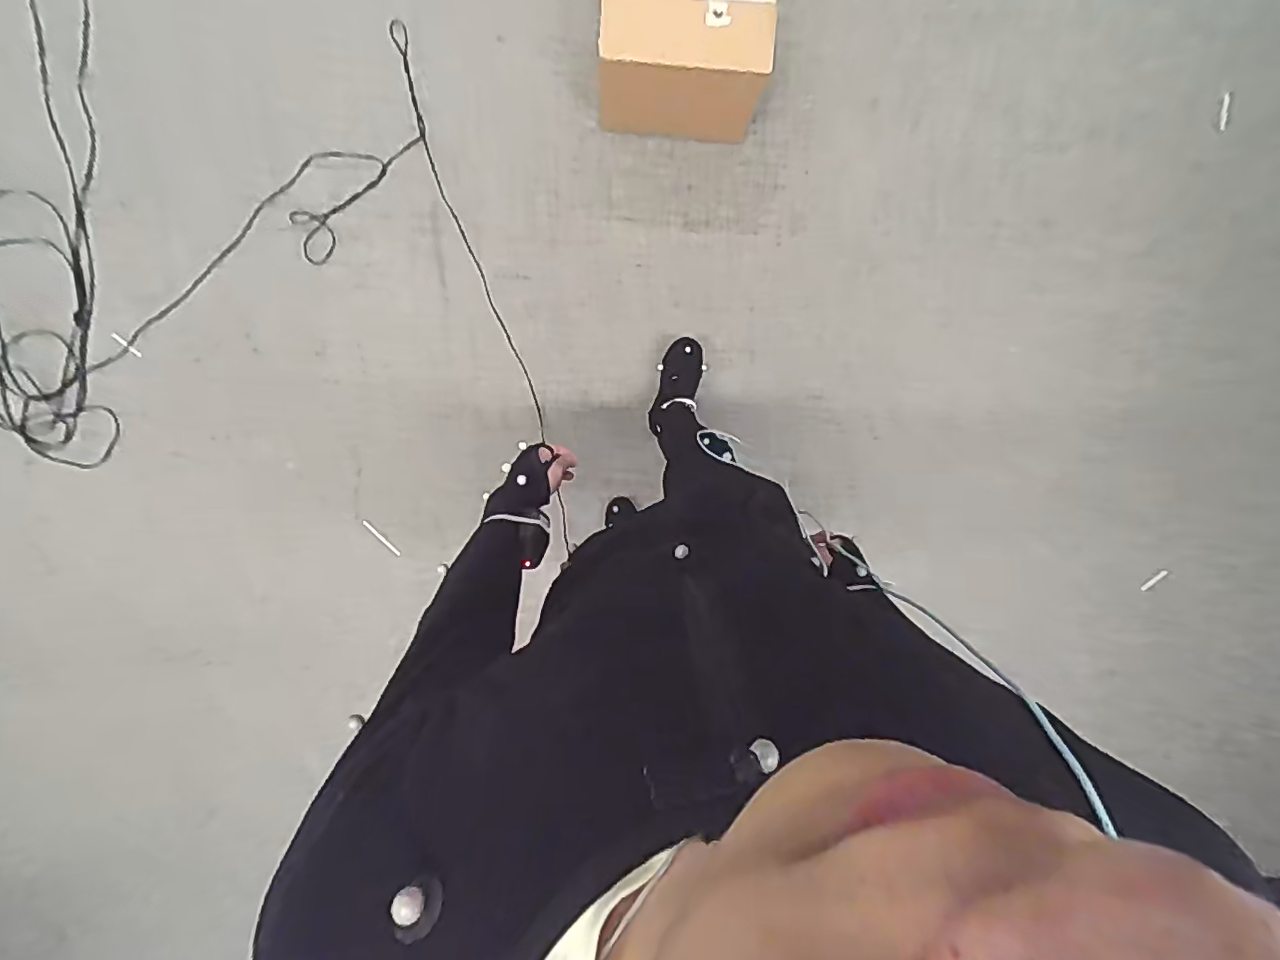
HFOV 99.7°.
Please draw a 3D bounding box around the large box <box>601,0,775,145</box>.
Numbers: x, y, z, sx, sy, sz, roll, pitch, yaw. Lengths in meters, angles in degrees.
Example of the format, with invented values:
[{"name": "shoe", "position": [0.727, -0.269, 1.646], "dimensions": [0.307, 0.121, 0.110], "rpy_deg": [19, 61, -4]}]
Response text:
[{"name": "large box", "position": [0.105, -1.108, 1.388], "dimensions": [0.408, 0.320, 0.320], "rpy_deg": [3, 94, -3]}]
